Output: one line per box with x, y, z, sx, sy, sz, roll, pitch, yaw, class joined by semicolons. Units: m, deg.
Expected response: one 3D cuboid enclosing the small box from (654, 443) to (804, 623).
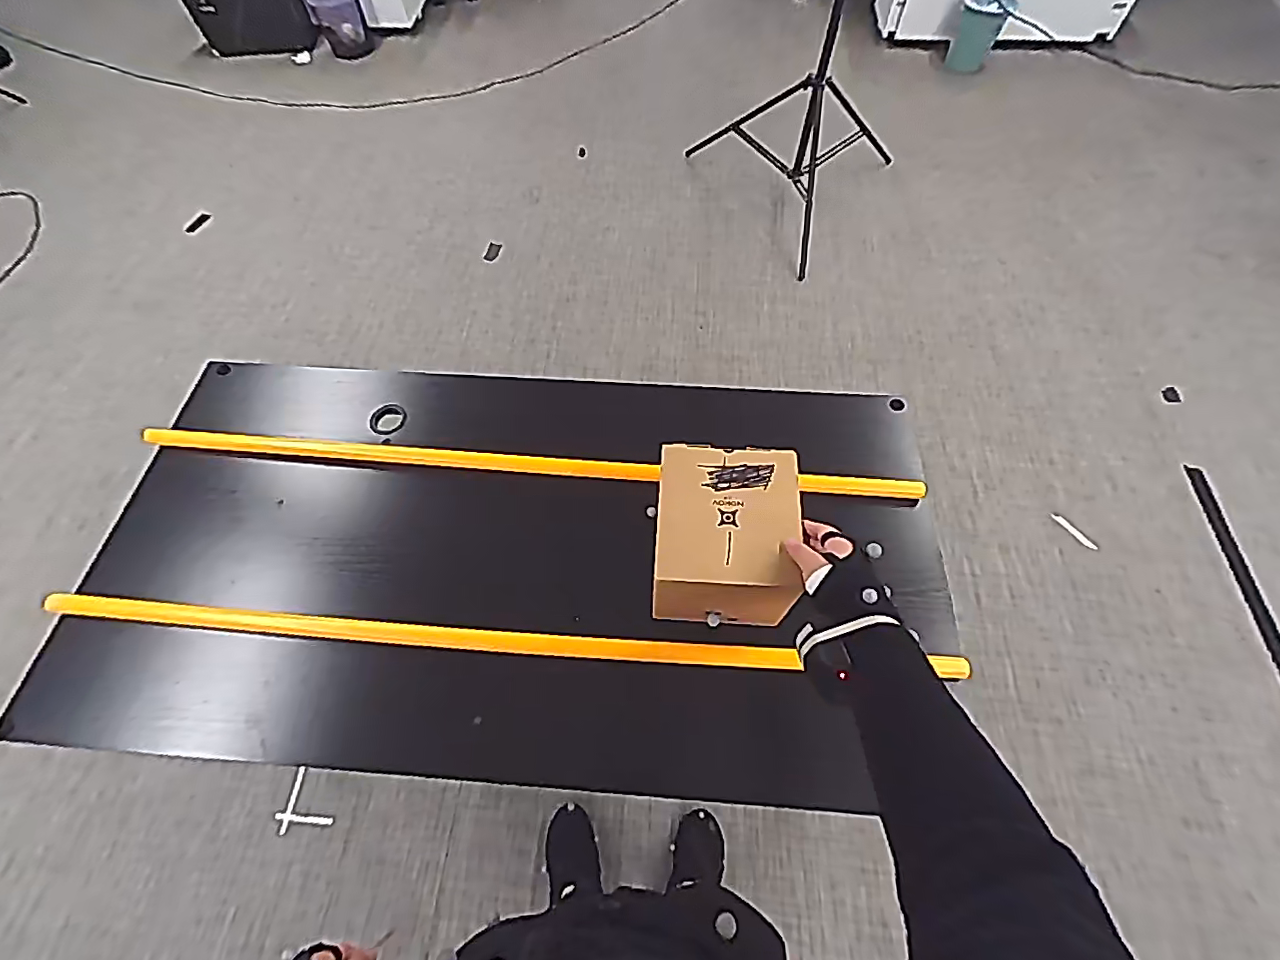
0.106;0.073;0.700;0.168;0.176;0.179;3;62;3;small box
